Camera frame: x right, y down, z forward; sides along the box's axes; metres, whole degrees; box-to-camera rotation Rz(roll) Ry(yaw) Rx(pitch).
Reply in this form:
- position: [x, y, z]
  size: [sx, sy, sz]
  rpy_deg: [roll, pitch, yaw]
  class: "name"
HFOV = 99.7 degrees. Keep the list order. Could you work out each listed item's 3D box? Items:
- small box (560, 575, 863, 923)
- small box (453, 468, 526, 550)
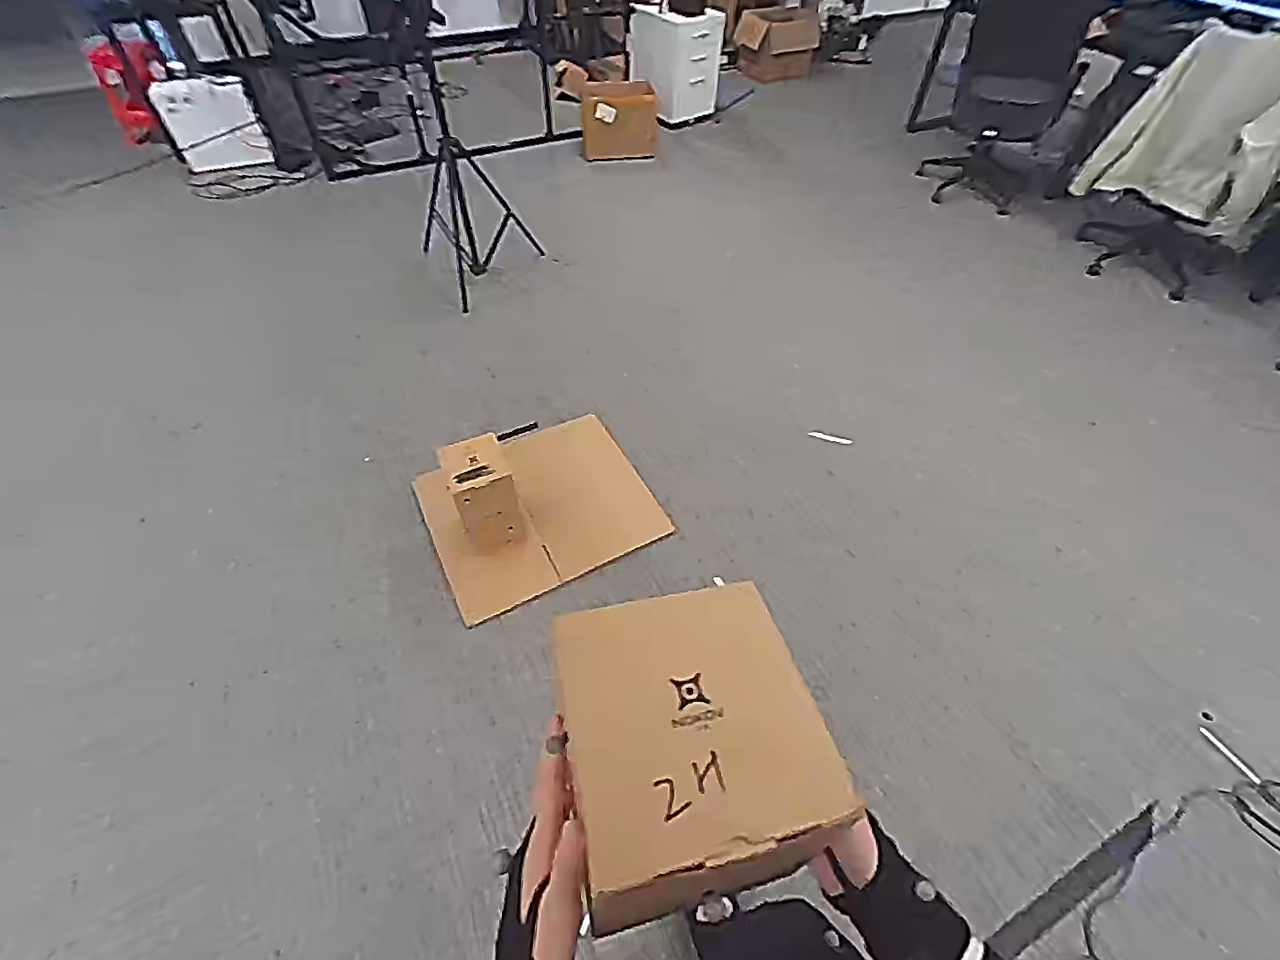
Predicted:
- position: [0.029, 0.202, 0.420]
  size: [0.168, 0.176, 0.179]
  rpy_deg: [-7, 45, -14]
  class: "small box"
- position: [-0.460, 0.097, 1.672]
  size: [0.168, 0.176, 0.179]
  rpy_deg: [-19, 54, -17]
  class: "small box"
